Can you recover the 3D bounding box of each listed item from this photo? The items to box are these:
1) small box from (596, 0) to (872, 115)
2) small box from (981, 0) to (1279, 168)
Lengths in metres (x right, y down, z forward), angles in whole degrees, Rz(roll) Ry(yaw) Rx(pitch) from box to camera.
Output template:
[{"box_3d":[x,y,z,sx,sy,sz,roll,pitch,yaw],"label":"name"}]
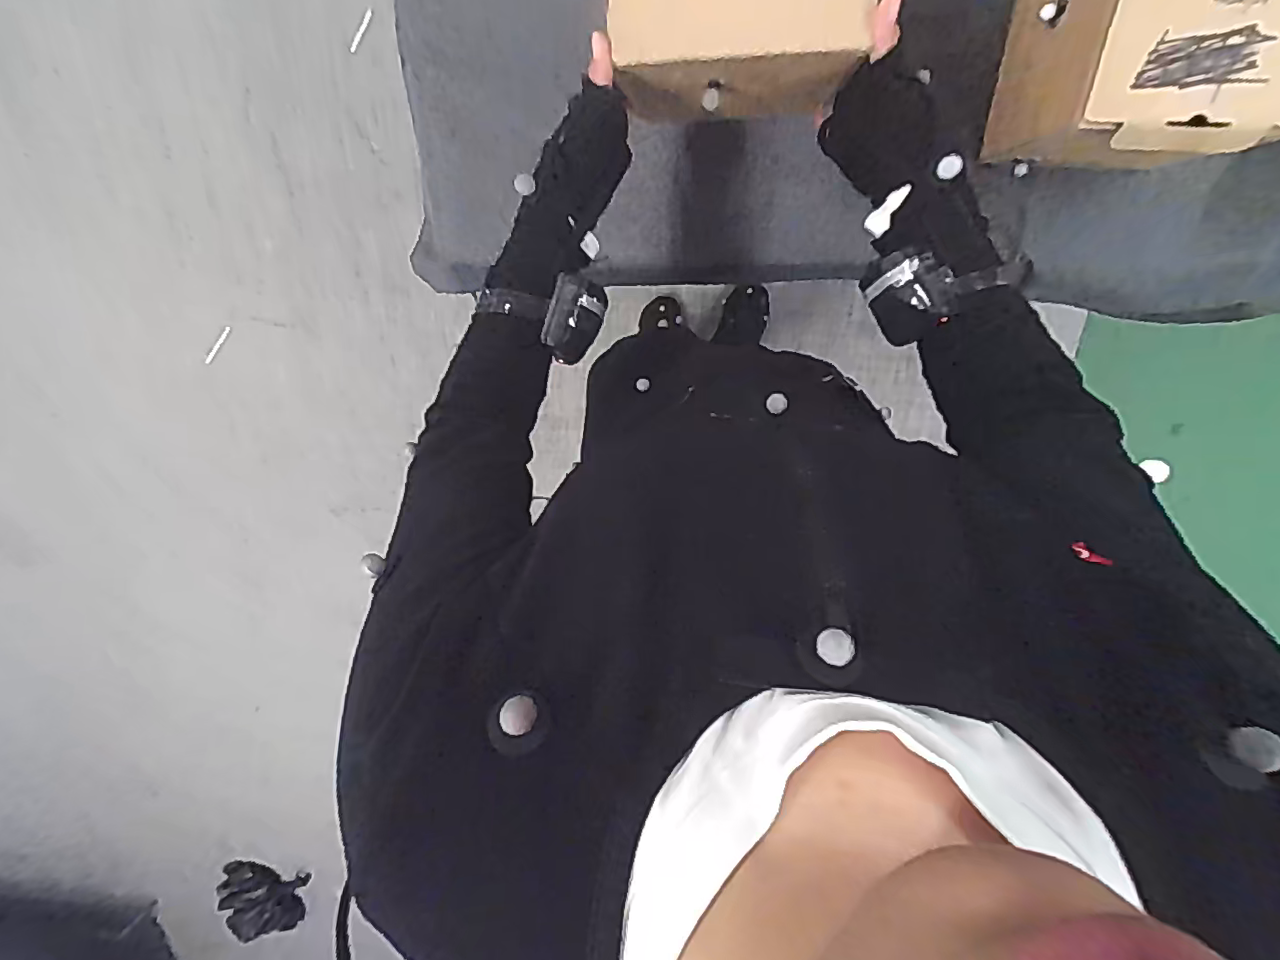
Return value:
[{"box_3d":[0.069,-0.385,0.395,0.179,0.176,0.168,2,112,7],"label":"small box"},{"box_3d":[0.421,-0.372,0.451,0.168,0.176,0.179,5,111,5],"label":"small box"}]
